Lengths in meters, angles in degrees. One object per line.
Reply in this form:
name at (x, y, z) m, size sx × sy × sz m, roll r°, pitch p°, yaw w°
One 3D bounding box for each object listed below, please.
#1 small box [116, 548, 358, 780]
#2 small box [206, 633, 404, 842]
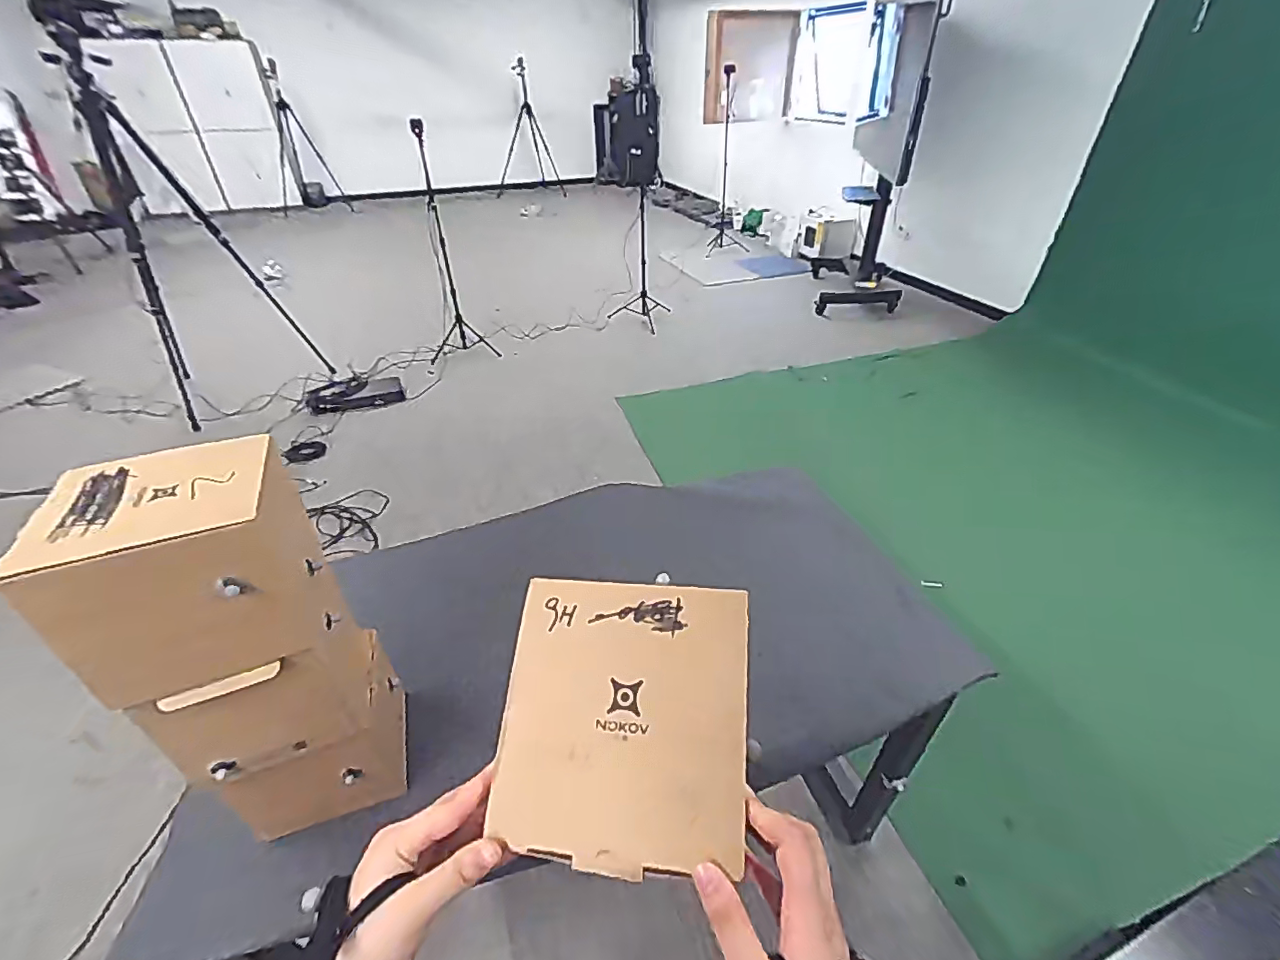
small box at (-0.443, 0.216, 0.633) m, size 0.168 × 0.176 × 0.179 m, roll -16°, pitch 37°, yaw -19°
small box at (-0.430, 0.345, 0.734) m, size 0.179 × 0.176 × 0.168 m, roll -14°, pitch 37°, yaw -15°
